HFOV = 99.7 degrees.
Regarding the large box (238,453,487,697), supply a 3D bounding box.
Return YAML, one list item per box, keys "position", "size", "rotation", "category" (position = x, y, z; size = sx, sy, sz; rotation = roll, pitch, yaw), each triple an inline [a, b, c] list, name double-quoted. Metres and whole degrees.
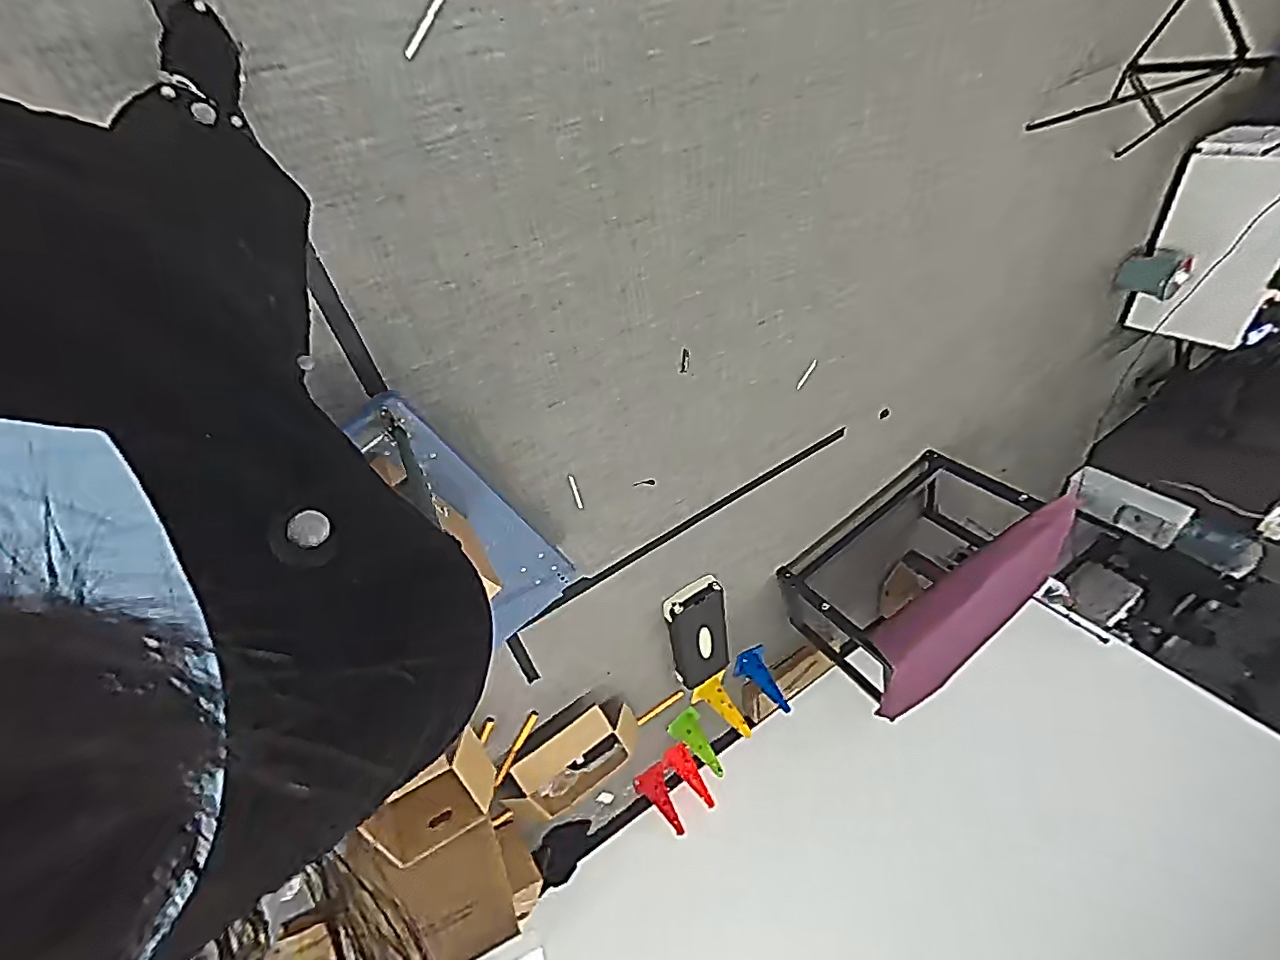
- position: [-0.643, 0.217, 1.268]
  size: [0.408, 0.320, 0.320]
  rotation: [-42, 133, -3]
  category: "large box"
